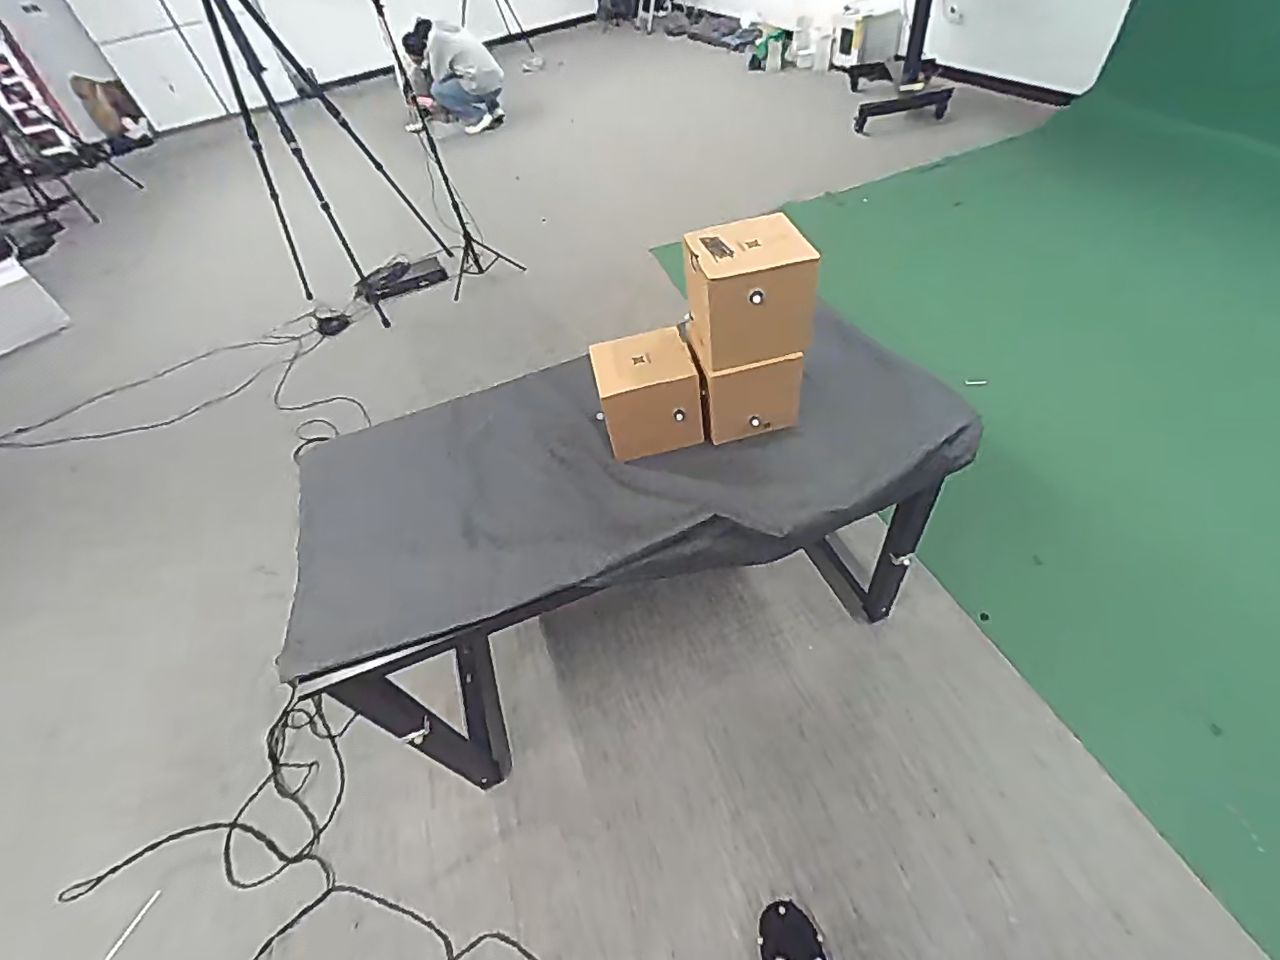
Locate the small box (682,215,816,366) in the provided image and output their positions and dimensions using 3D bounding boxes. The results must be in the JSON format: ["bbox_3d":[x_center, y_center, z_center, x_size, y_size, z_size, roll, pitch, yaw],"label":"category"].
[{"bbox_3d":[0.179,-0.315,0.913,0.179,0.176,0.168,-13,49,-1],"label":"small box"}]
